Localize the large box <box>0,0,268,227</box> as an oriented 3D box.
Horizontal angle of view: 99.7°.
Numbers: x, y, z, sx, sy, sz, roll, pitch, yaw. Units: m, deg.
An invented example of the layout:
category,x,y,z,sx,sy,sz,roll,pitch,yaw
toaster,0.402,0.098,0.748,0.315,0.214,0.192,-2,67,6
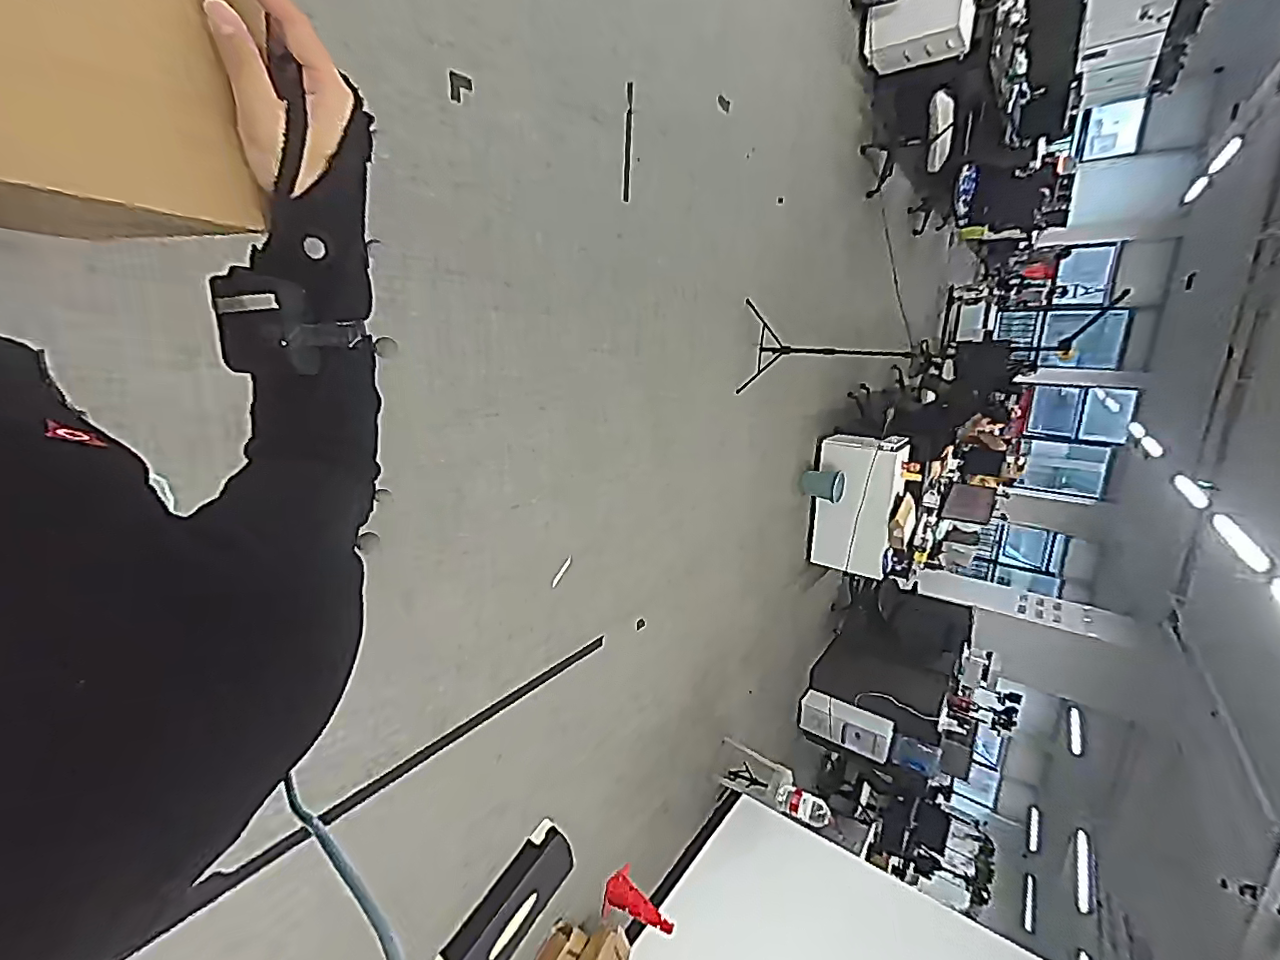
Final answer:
category,x,y,z,sx,sy,sz,roll,pitch,yaw
large box,-0.452,-0.304,0.207,0.408,0.320,0.320,-19,119,-57
